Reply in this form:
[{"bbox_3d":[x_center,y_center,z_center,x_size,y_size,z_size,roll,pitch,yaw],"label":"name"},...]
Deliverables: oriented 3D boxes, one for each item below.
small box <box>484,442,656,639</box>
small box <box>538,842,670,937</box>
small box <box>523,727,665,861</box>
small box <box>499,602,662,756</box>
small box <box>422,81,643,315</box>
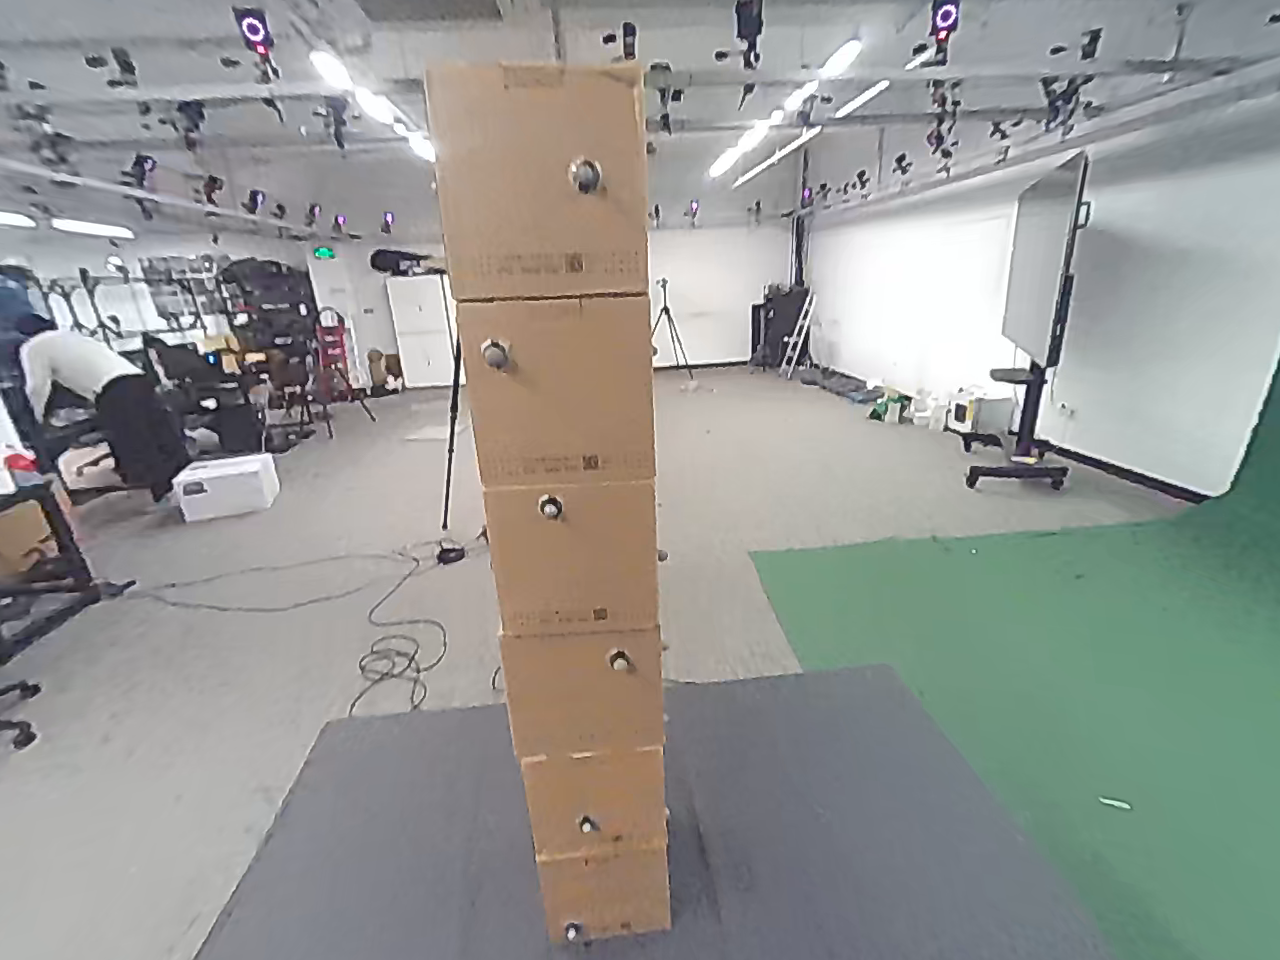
[{"bbox_3d":[-0.069,0.061,0.623,0.168,0.176,0.179,-3,19,-1],"label":"small box"},{"bbox_3d":[-0.049,0.522,0.788,0.168,0.176,0.179,-5,18,-4],"label":"small box"},{"bbox_3d":[-0.058,0.369,0.734,0.168,0.176,0.179,-5,20,-3],"label":"small box"},{"bbox_3d":[-0.065,0.215,0.677,0.179,0.176,0.168,-4,19,-2],"label":"small box"},{"bbox_3d":[-0.083,-0.250,0.516,0.168,0.176,0.179,-2,20,-1],"label":"small box"}]
